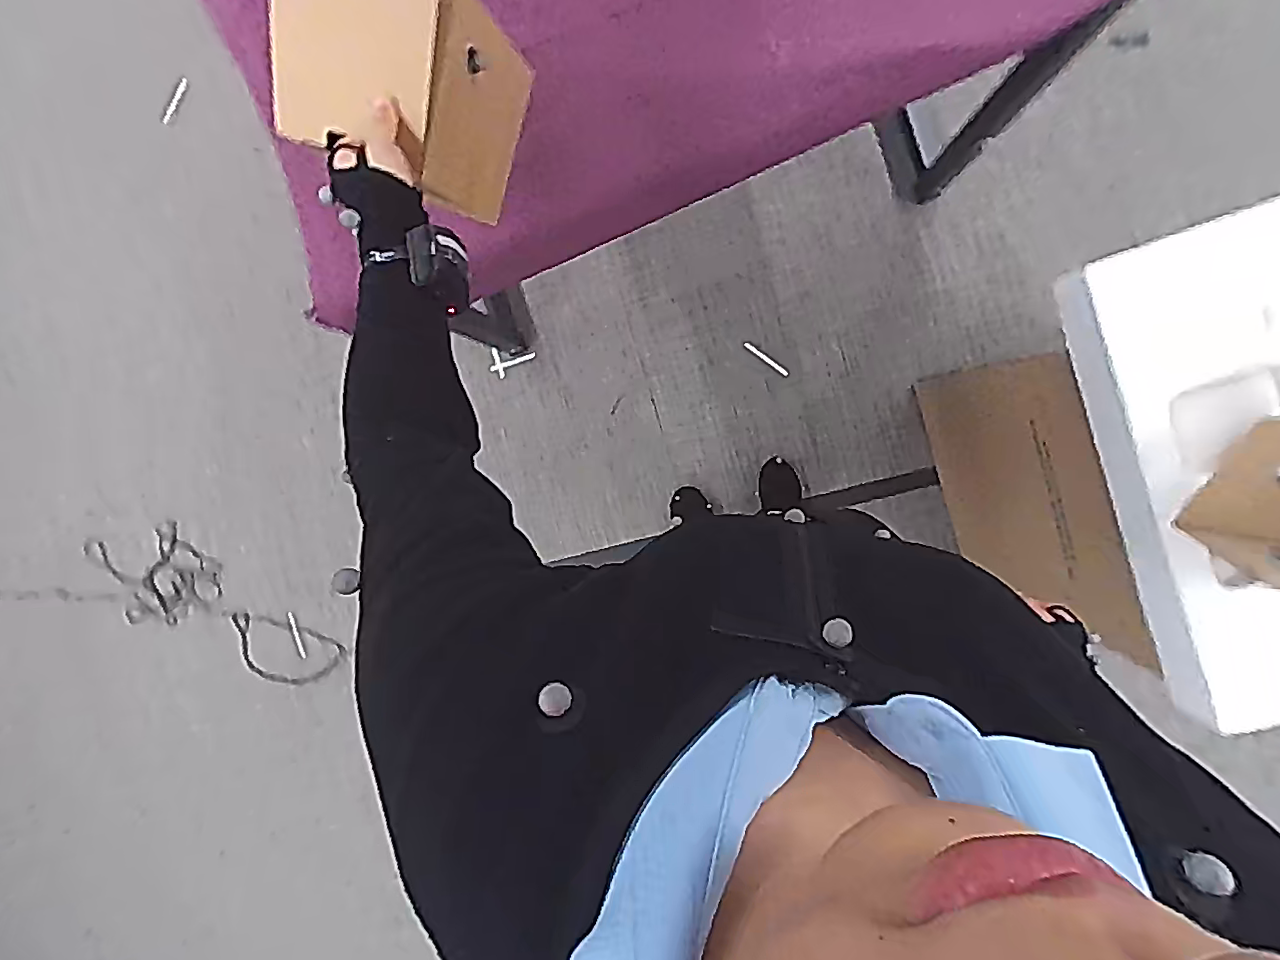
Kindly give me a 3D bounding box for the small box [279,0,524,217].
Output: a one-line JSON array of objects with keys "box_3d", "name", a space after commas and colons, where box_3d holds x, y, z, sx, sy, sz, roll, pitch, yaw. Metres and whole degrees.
[{"box_3d": [-0.245, -0.419, 0.590, 0.168, 0.176, 0.179, 21, 105, 7], "name": "small box"}]
